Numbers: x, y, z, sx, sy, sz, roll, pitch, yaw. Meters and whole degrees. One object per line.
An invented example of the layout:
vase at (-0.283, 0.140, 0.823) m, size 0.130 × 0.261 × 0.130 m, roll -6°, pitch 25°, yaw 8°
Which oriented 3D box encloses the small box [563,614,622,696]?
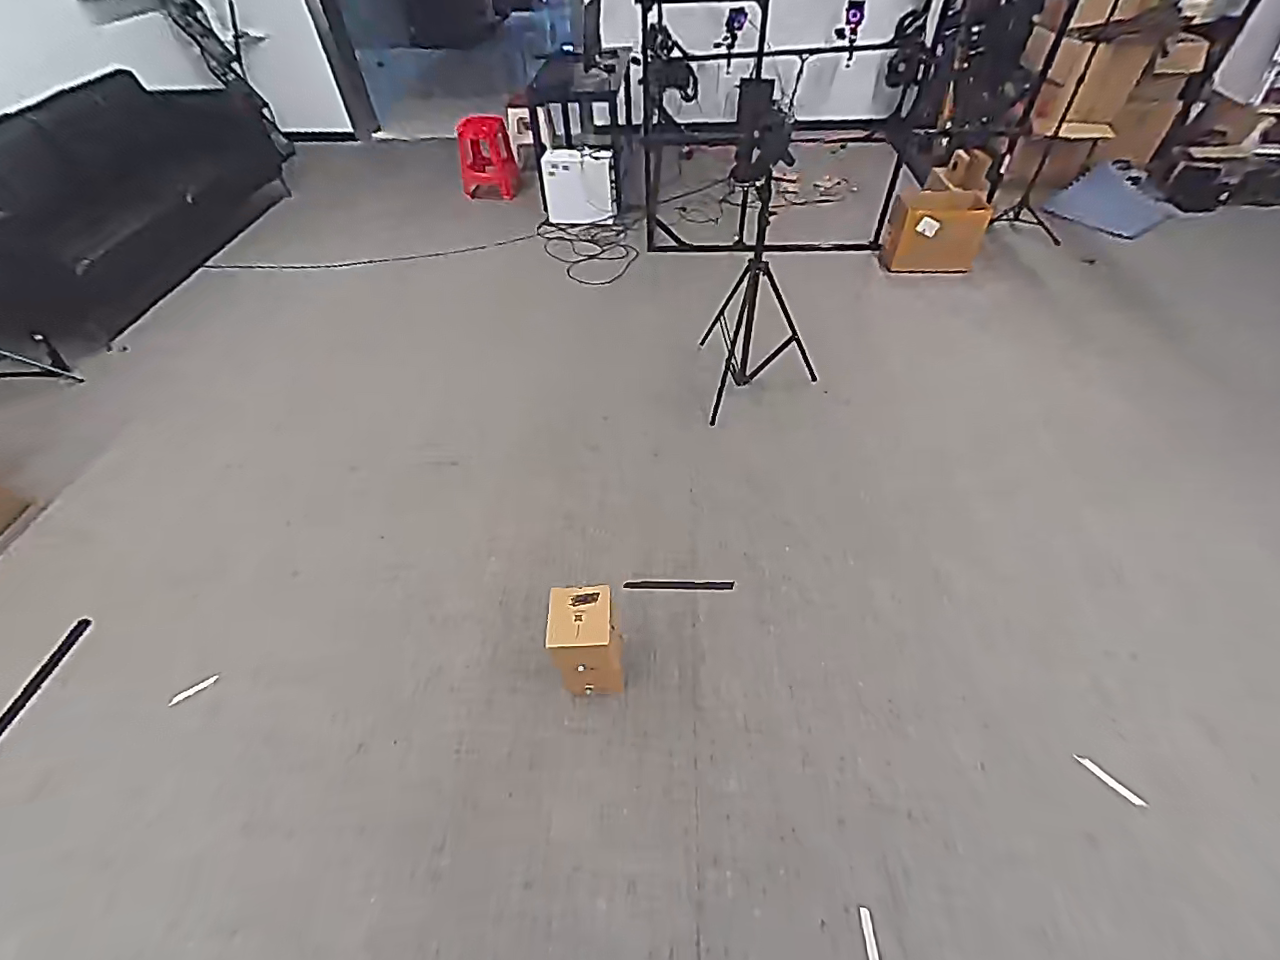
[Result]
small box at (-0.141, 0.521, 1.606) m, size 0.168 × 0.176 × 0.179 m, roll -4°, pitch 48°, yaw 0°

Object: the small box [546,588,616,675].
small box at (-0.155, 0.415, 1.481) m, size 0.168 × 0.176 × 0.179 m, roll -3°, pitch 49°, yaw 1°
